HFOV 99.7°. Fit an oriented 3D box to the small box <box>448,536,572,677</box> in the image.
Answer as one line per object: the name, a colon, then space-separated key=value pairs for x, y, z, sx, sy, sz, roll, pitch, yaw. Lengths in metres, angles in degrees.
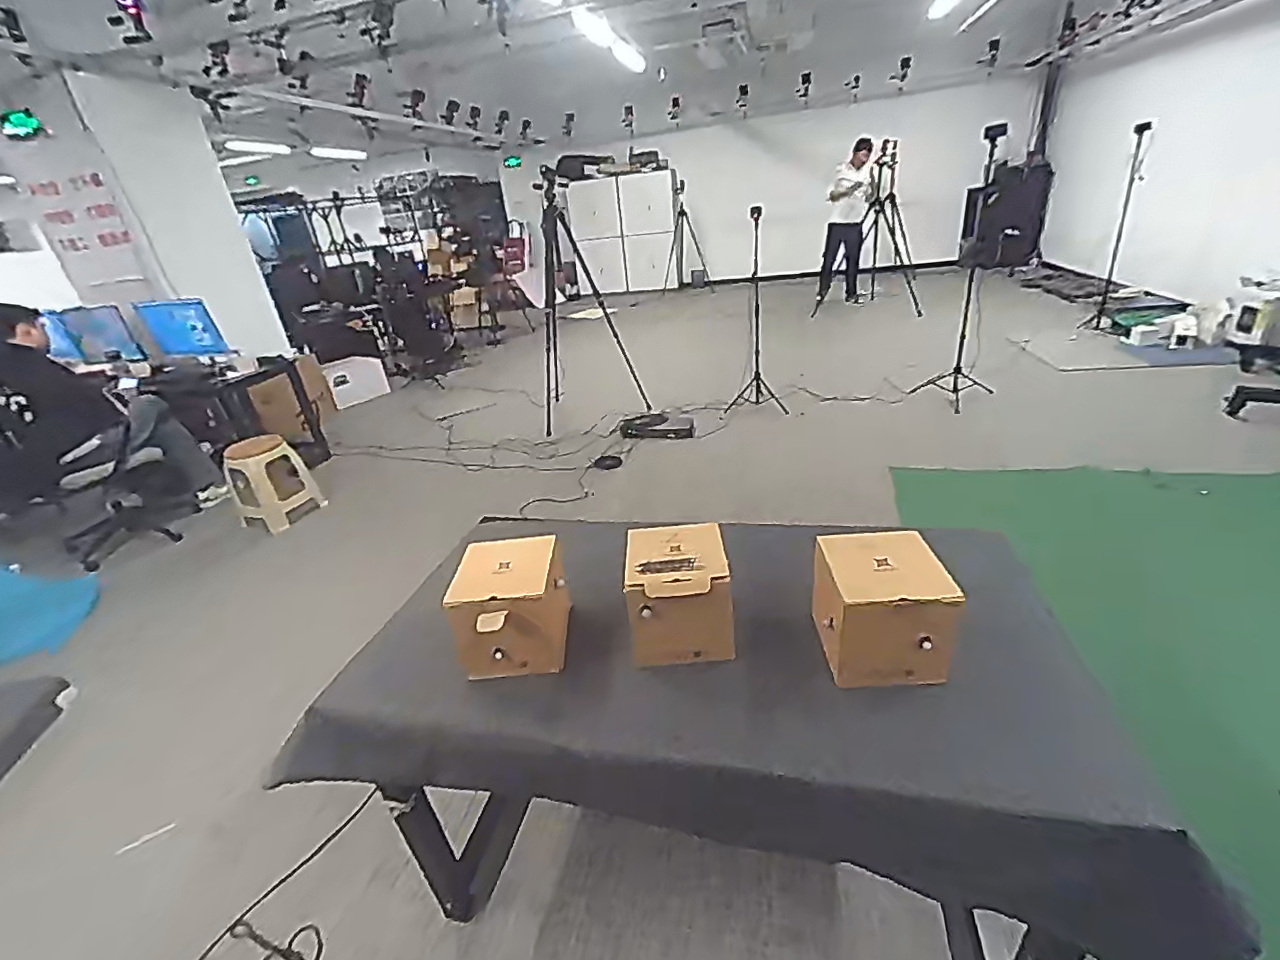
small box: x=-0.218 y=0.221 z=0.961 sx=0.168 sy=0.176 sz=0.179 roll=-6 pitch=27 yaw=2

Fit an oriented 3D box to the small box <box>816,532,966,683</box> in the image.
small box: x=0.382 y=0.202 z=0.856 sx=0.168 sy=0.176 sz=0.179 roll=-3 pitch=26 yaw=5
